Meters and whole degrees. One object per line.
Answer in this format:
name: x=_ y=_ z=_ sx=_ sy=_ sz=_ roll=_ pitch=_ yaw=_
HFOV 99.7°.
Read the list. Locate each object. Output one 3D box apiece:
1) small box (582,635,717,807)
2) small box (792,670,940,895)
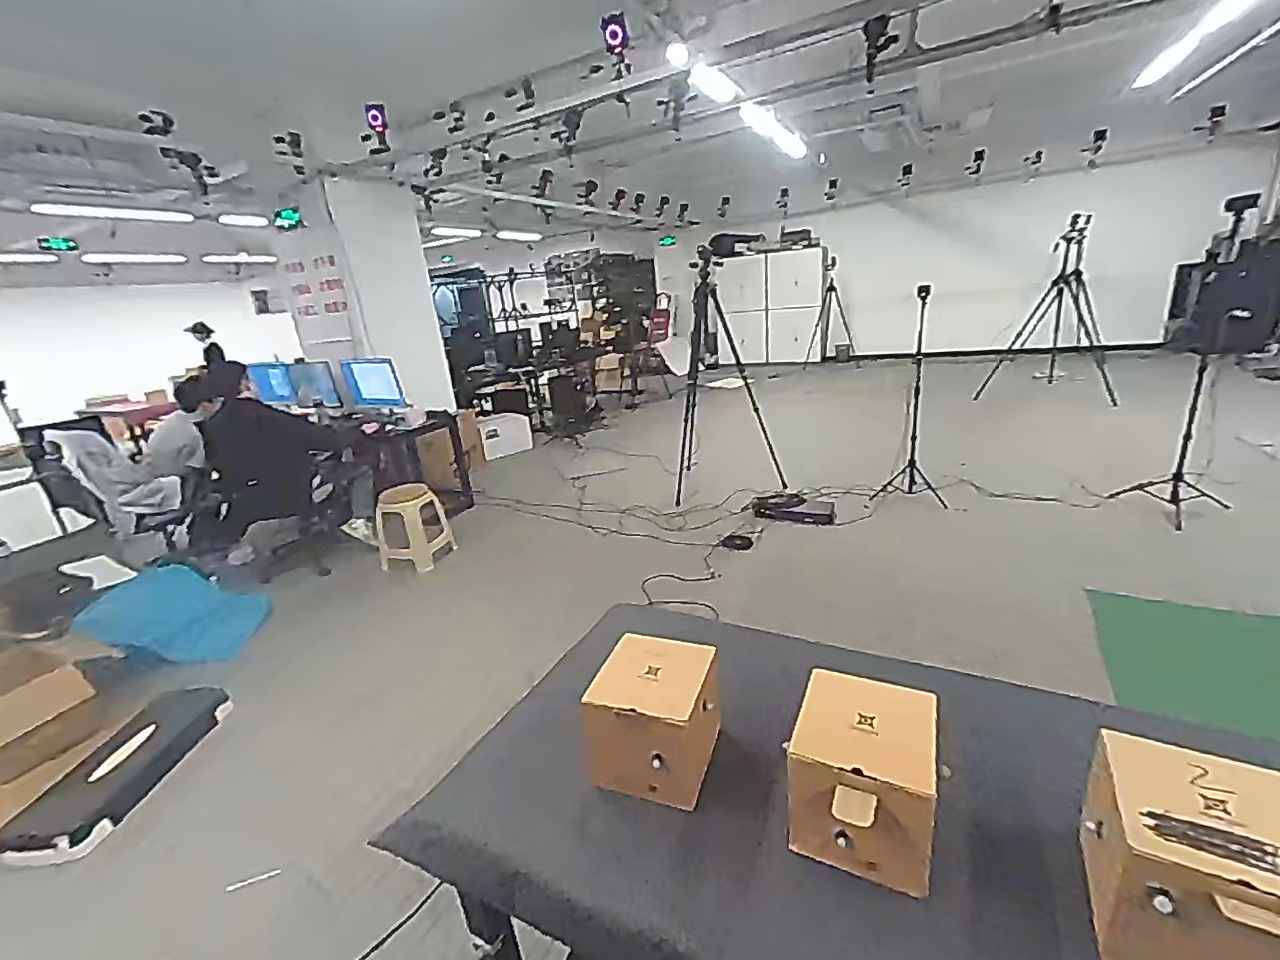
small box: x=0.027 y=0.378 z=0.865 sx=0.168 sy=0.176 sz=0.179 roll=3 pitch=20 yaw=21
small box: x=0.304 y=0.395 z=0.731 sx=0.168 sy=0.176 sz=0.179 roll=5 pitch=22 yaw=27
